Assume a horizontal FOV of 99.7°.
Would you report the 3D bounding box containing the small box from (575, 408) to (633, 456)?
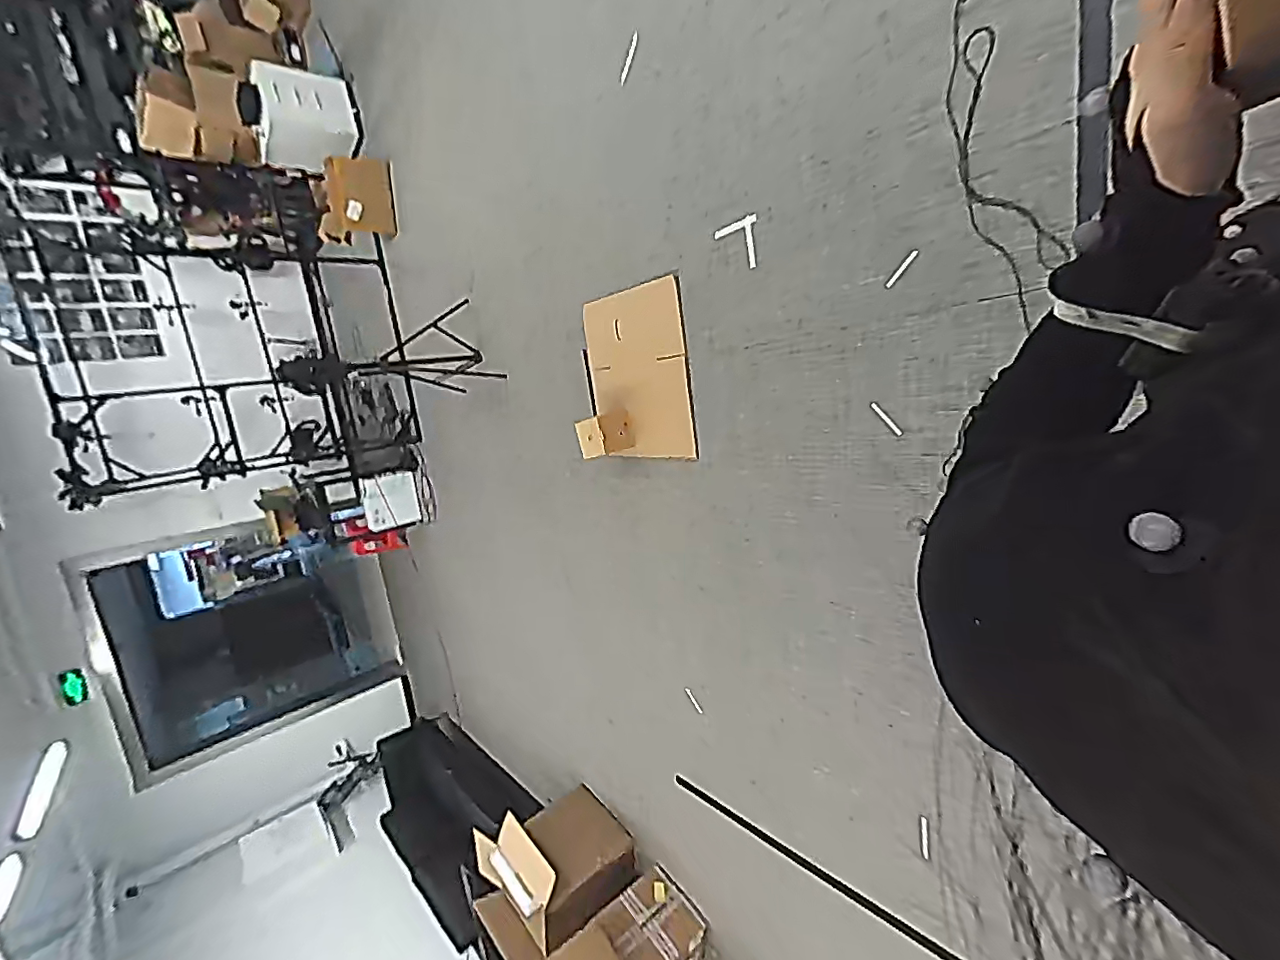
[{"bbox_3d":[-0.156,-0.210,2.378,0.179,0.176,0.168,-11,96,51],"label":"small box"}]
